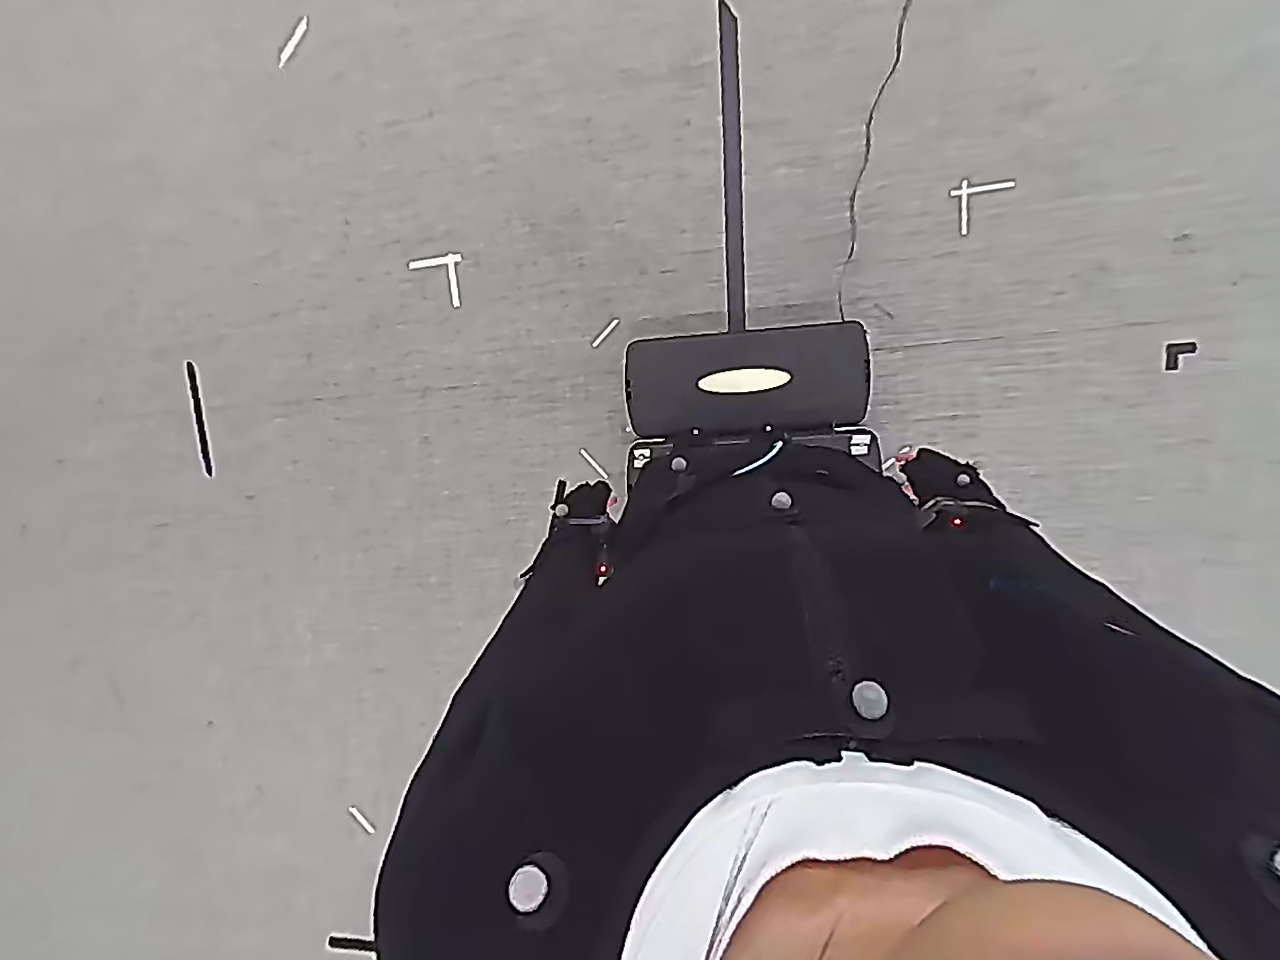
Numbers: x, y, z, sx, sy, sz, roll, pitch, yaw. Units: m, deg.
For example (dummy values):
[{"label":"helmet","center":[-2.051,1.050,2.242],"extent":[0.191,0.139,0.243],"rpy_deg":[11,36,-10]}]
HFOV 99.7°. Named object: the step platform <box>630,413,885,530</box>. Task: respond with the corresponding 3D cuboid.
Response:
[{"label":"step platform","center":[0.313,-0.020,1.516],"extent":[0.684,0.204,0.286],"rpy_deg":[-4,96,10]}]
